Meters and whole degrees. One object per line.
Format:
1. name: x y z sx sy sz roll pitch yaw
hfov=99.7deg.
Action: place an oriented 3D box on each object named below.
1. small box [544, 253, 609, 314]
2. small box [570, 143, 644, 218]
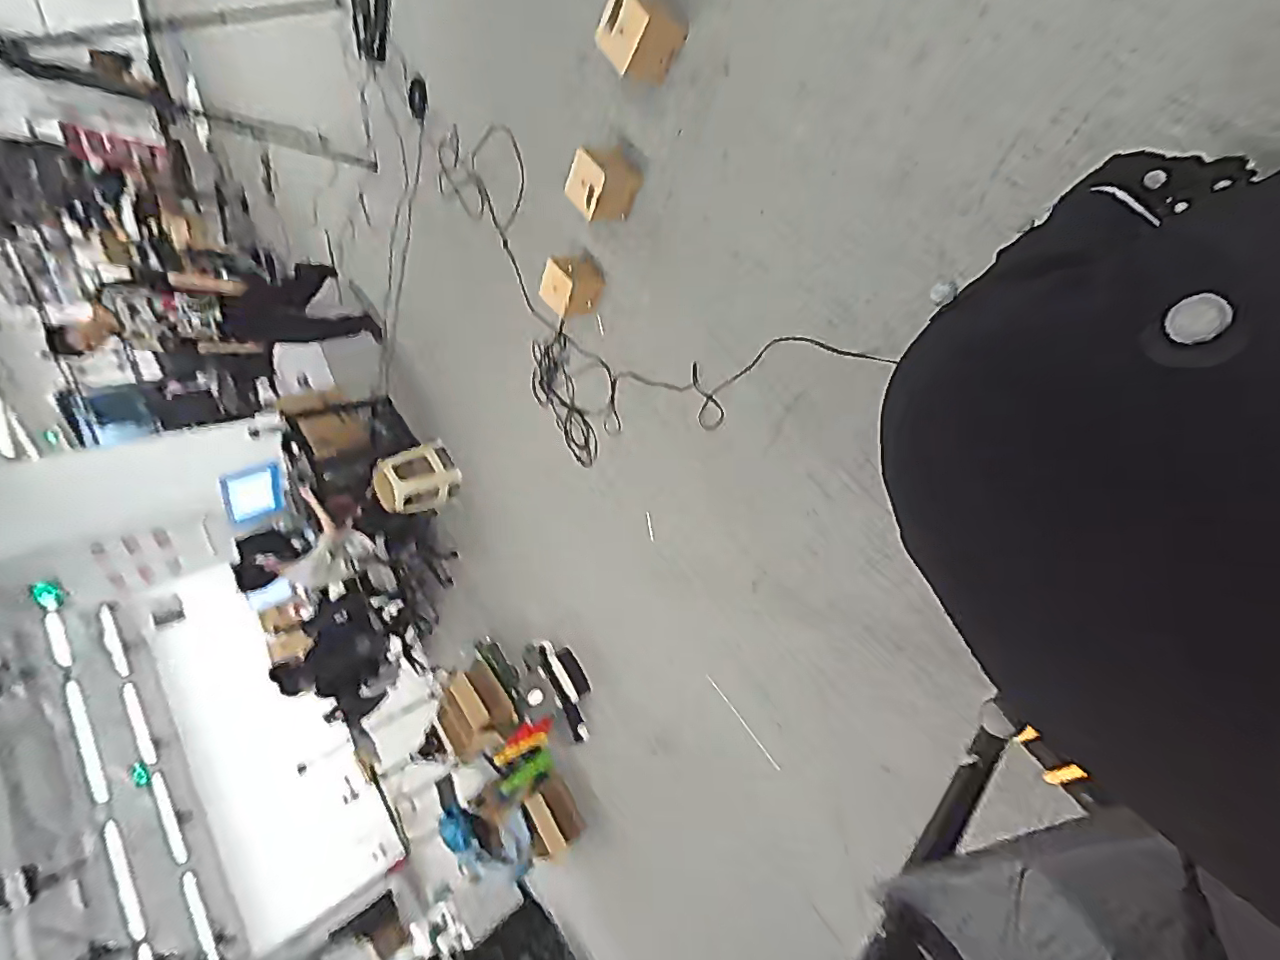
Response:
1. small box: -0.256 -0.792 2.178 0.179 0.176 0.168 50 137 20
2. small box: -0.113 -1.049 1.902 0.179 0.176 0.168 54 138 17
